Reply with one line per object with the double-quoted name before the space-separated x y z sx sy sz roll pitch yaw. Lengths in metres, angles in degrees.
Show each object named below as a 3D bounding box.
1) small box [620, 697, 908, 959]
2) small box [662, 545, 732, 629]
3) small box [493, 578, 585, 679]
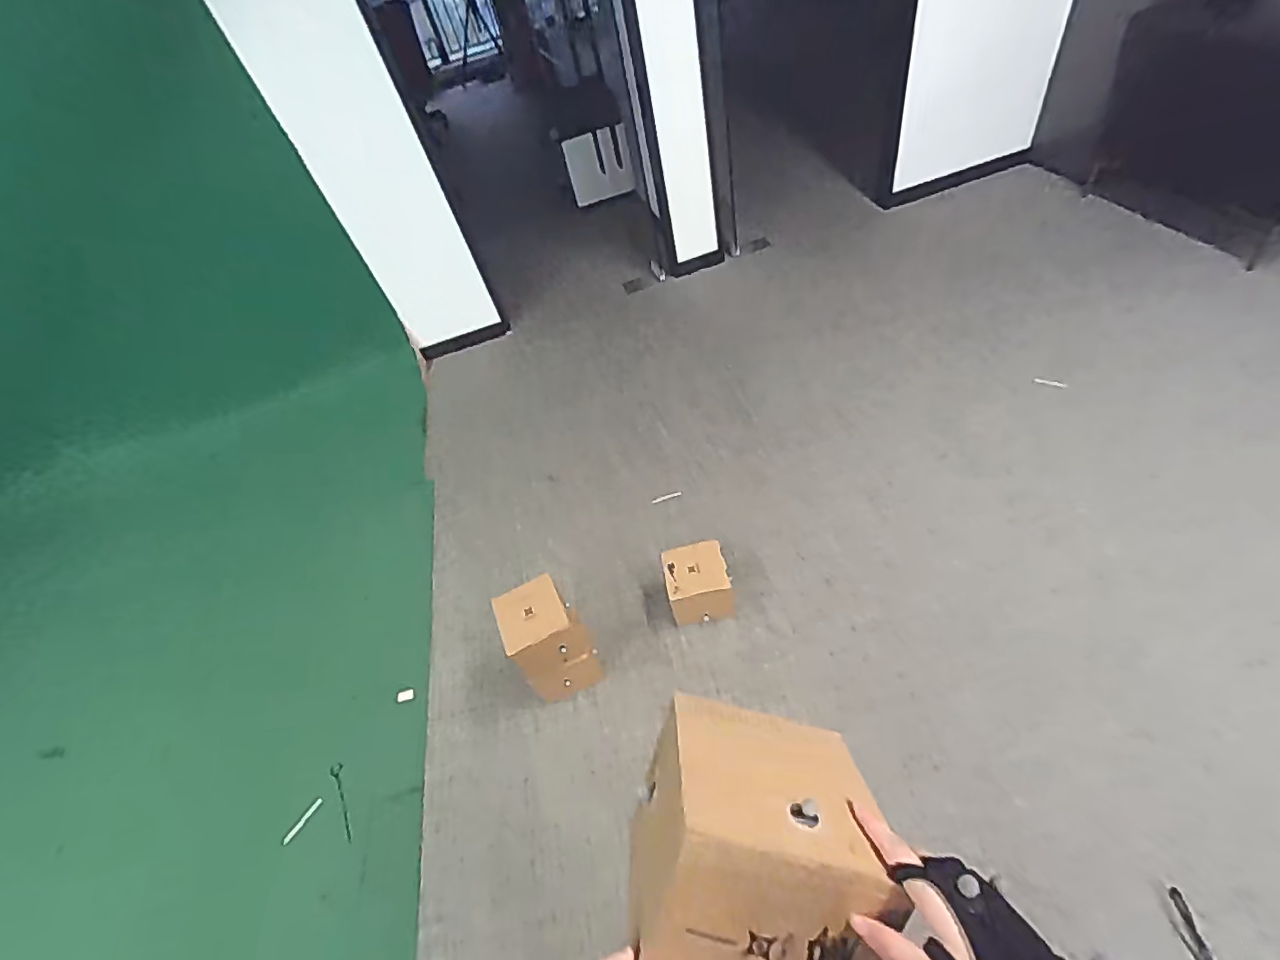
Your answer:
"small box" 0.089 0.322 0.477 0.179 0.168 0.176 16 11 -2
"small box" 0.170 0.317 1.587 0.179 0.176 0.168 -13 47 4
"small box" -0.260 0.396 1.414 0.168 0.176 0.179 -25 47 -8
